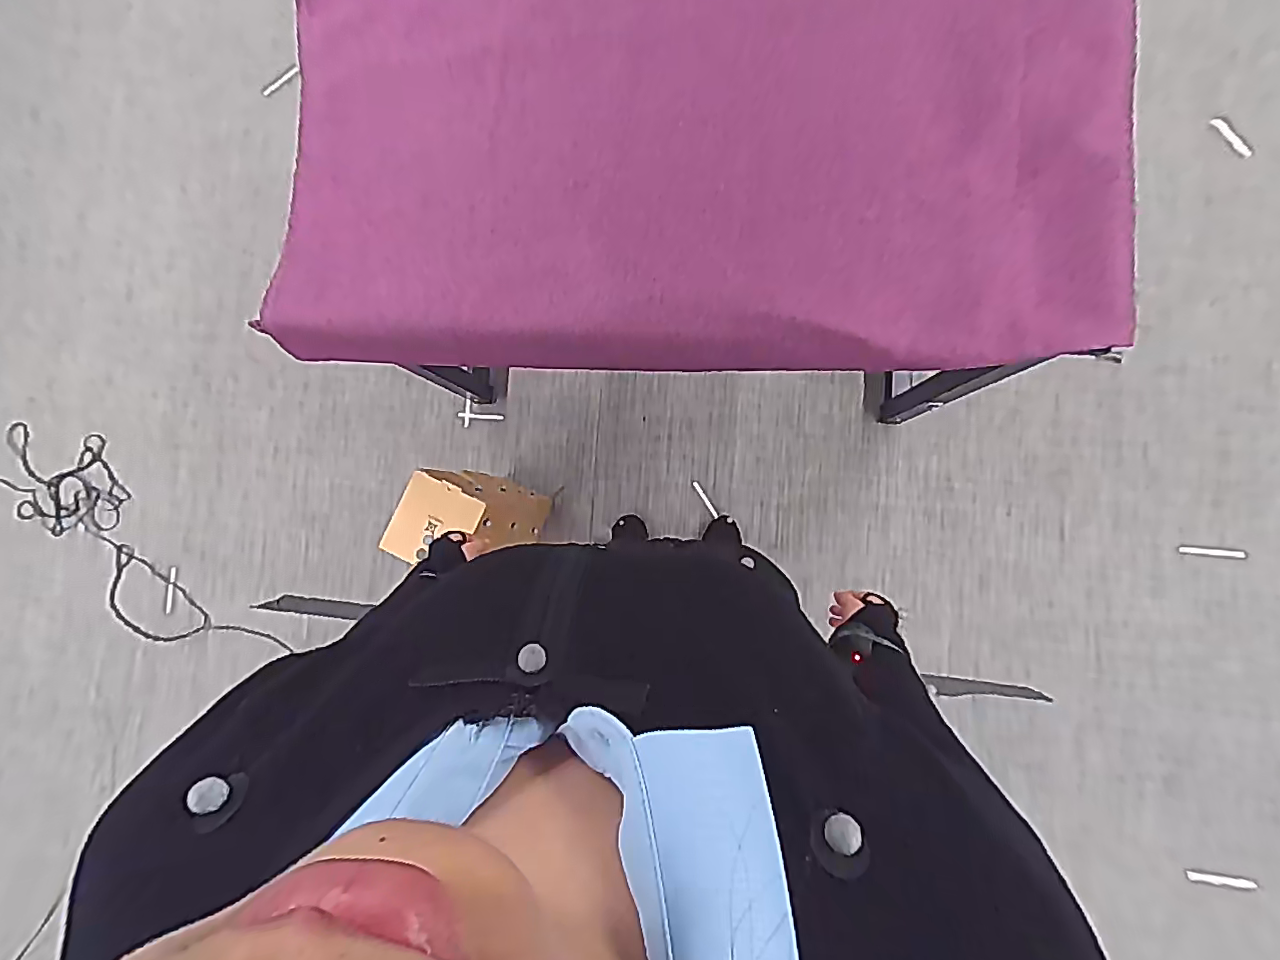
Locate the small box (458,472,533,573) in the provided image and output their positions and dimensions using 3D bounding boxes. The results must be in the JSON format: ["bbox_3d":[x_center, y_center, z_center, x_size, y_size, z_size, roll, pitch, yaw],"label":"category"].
[{"bbox_3d":[-0.377,0.098,1.297,0.168,0.176,0.179,32,91,6],"label":"small box"}]

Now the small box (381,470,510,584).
[{"bbox_3d":[-0.396,0.095,1.135,0.168,0.176,0.179,25,89,6],"label":"small box"}]
